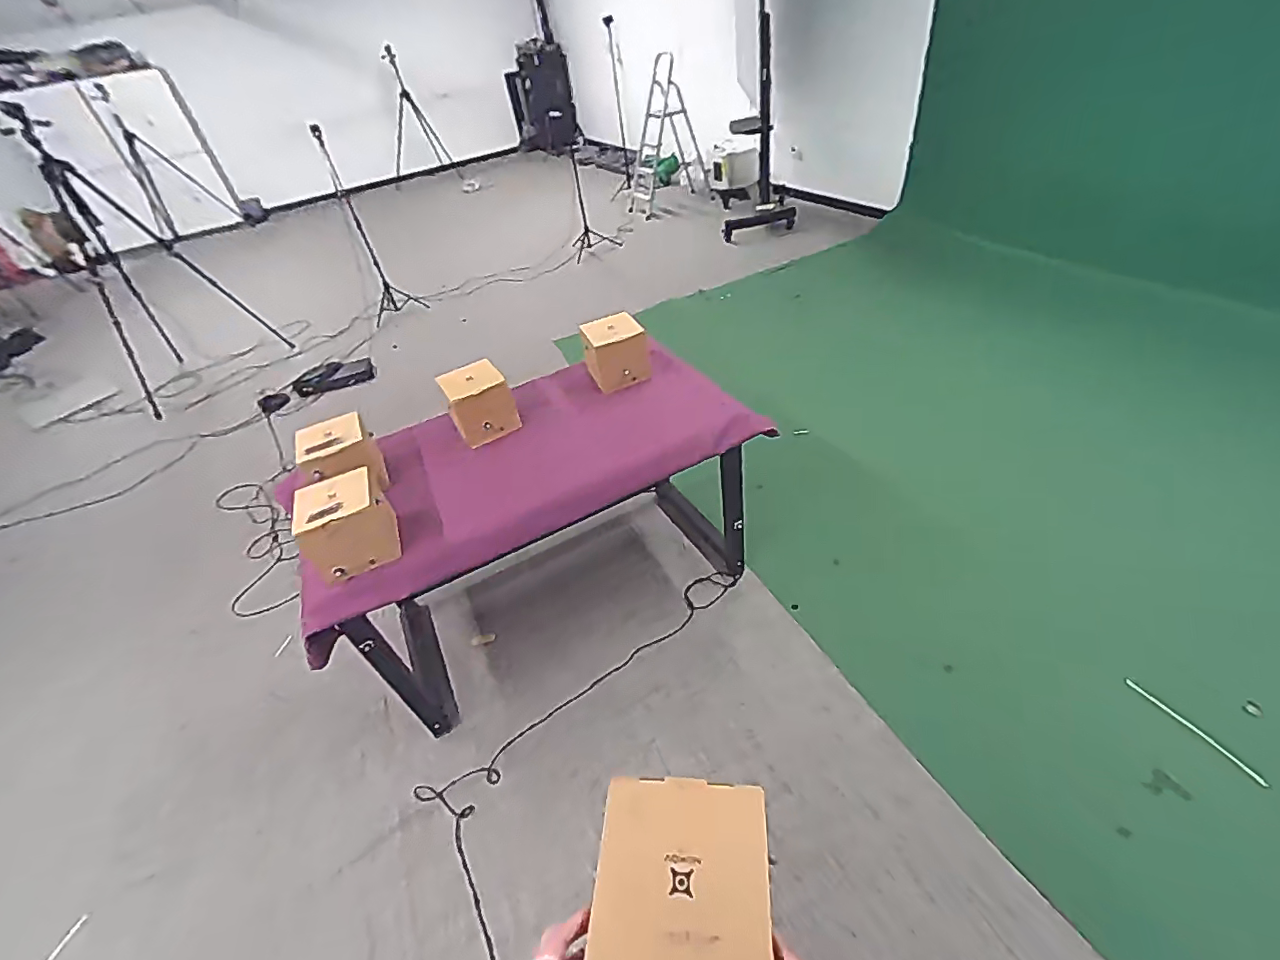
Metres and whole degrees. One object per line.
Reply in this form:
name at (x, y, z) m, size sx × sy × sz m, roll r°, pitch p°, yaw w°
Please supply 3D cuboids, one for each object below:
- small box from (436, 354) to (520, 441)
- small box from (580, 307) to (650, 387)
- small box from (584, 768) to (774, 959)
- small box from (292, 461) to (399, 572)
small box at (-0.478, -0.244, 1.604) m, size 0.168 × 0.176 × 0.179 m, roll -27°, pitch 45°, yaw -19°
small box at (-0.079, -0.422, 1.719) m, size 0.168 × 0.176 × 0.179 m, roll -21°, pitch 43°, yaw -10°
small box at (0.047, 0.432, 0.566) m, size 0.168 × 0.176 × 0.179 m, roll 0°, pitch 42°, yaw 8°
small box at (-0.681, 0.092, 1.265) m, size 0.168 × 0.176 × 0.179 m, roll -22°, pitch 41°, yaw -14°
